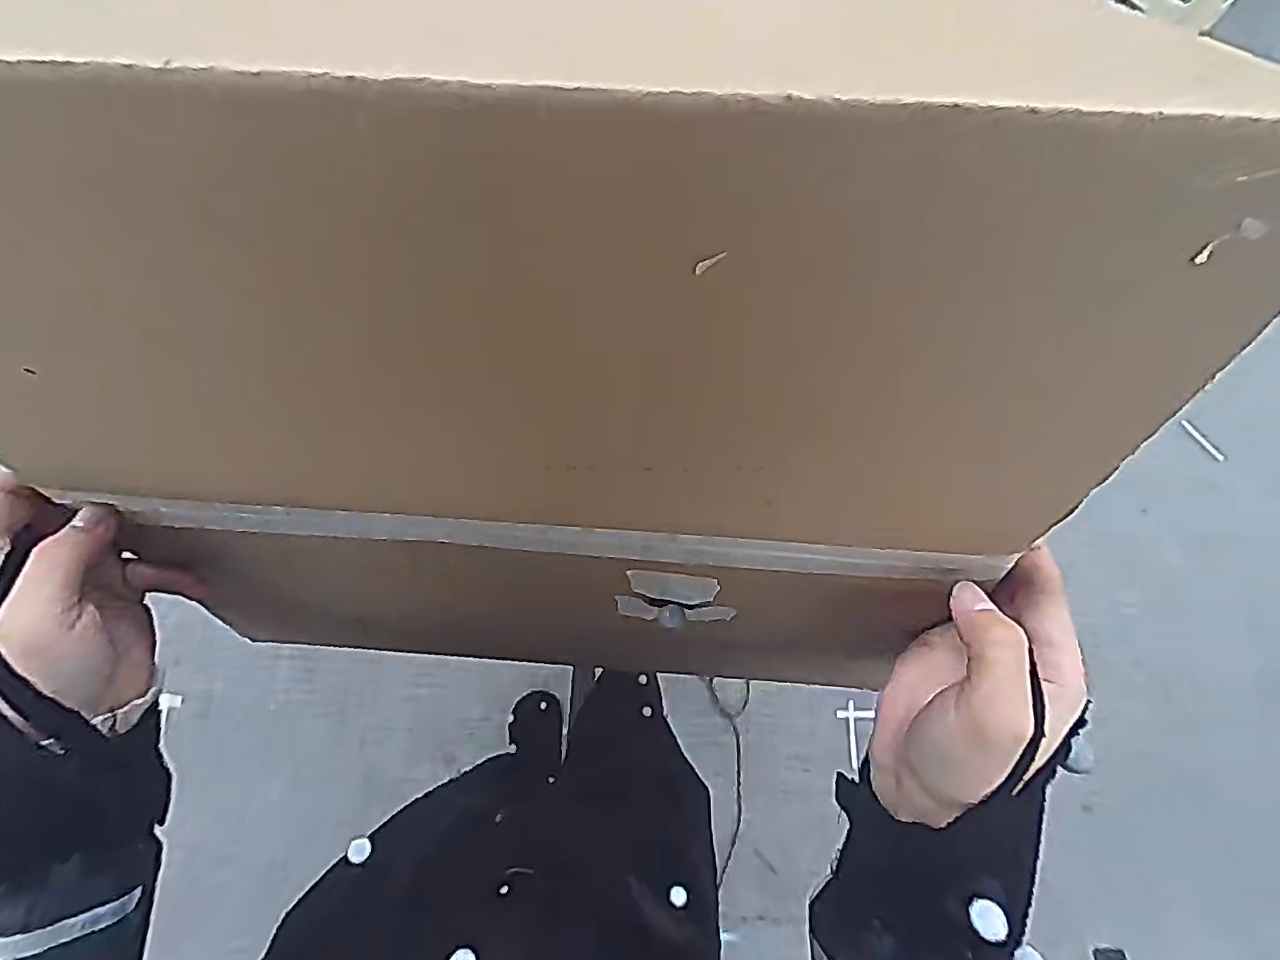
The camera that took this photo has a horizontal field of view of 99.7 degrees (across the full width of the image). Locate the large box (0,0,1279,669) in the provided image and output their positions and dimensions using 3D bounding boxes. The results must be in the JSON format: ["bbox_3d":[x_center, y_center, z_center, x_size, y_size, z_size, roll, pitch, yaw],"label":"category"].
[{"bbox_3d":[-0.039,-0.100,0.334,0.408,0.320,0.320,3,52,2],"label":"large box"}]
